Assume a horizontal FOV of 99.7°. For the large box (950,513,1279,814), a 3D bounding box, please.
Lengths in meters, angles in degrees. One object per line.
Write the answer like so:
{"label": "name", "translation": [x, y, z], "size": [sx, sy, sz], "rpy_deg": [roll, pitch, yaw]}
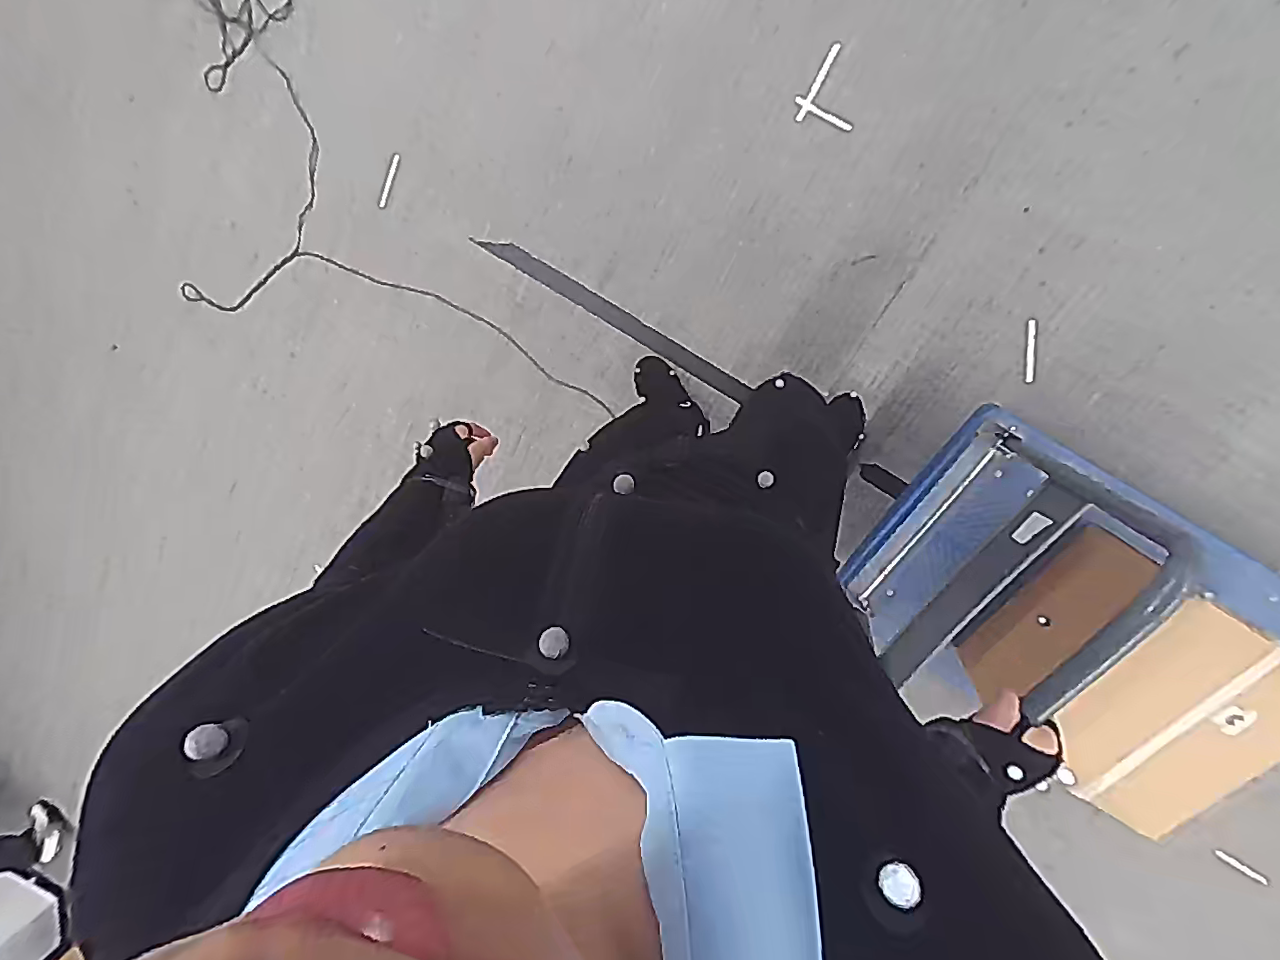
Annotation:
{"label": "large box", "translation": [0.924, 0.345, 1.083], "size": [0.320, 0.320, 0.408], "rpy_deg": [33, 111, 2]}
